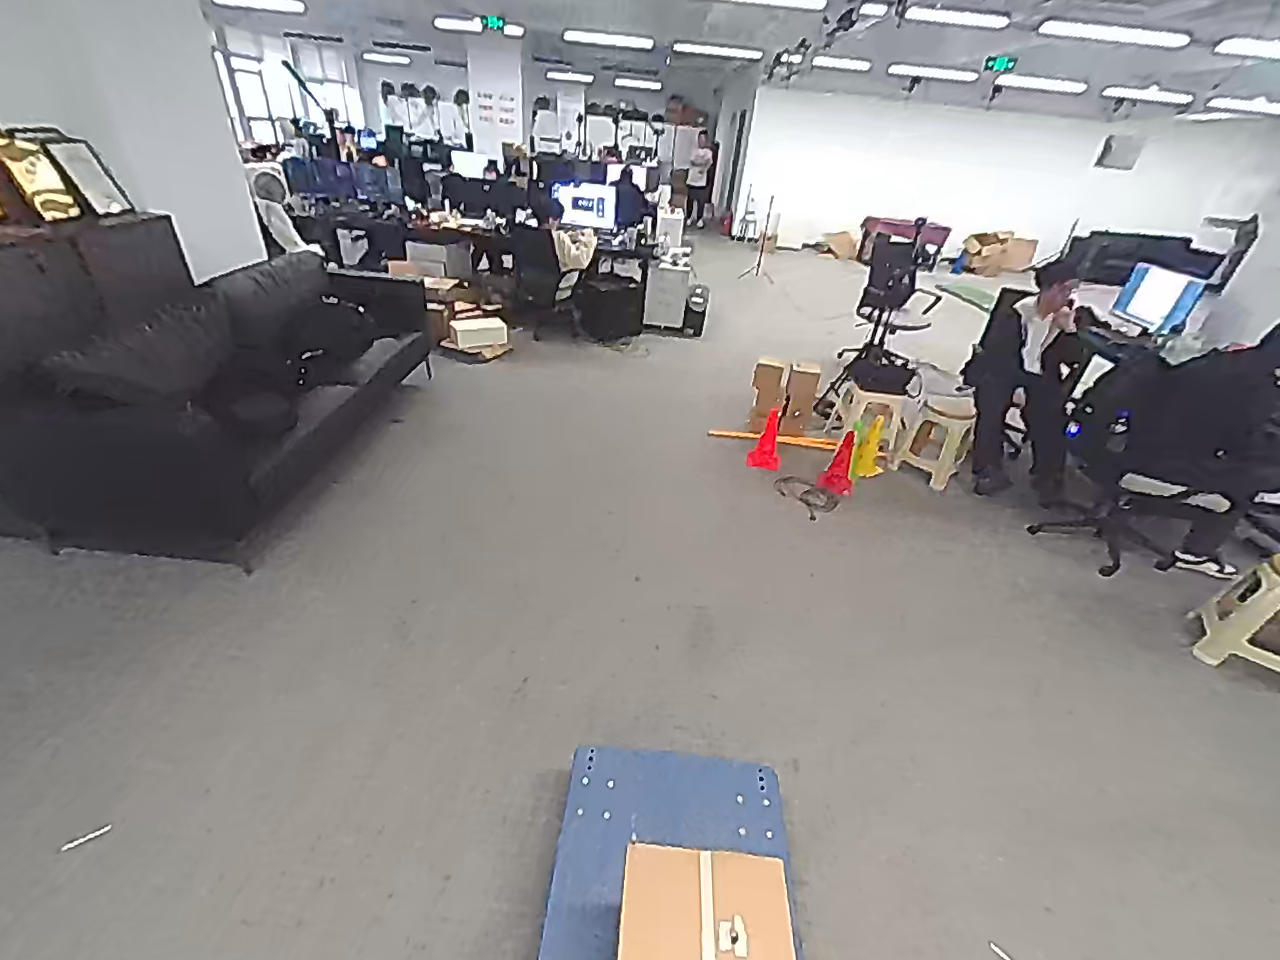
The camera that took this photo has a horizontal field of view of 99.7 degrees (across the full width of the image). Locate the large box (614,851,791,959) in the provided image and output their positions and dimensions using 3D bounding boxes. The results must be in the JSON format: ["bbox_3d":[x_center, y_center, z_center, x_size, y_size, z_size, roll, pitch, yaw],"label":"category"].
[{"bbox_3d":[0.100,0.981,0.980,0.320,0.320,0.408,6,31,0],"label":"large box"}]
